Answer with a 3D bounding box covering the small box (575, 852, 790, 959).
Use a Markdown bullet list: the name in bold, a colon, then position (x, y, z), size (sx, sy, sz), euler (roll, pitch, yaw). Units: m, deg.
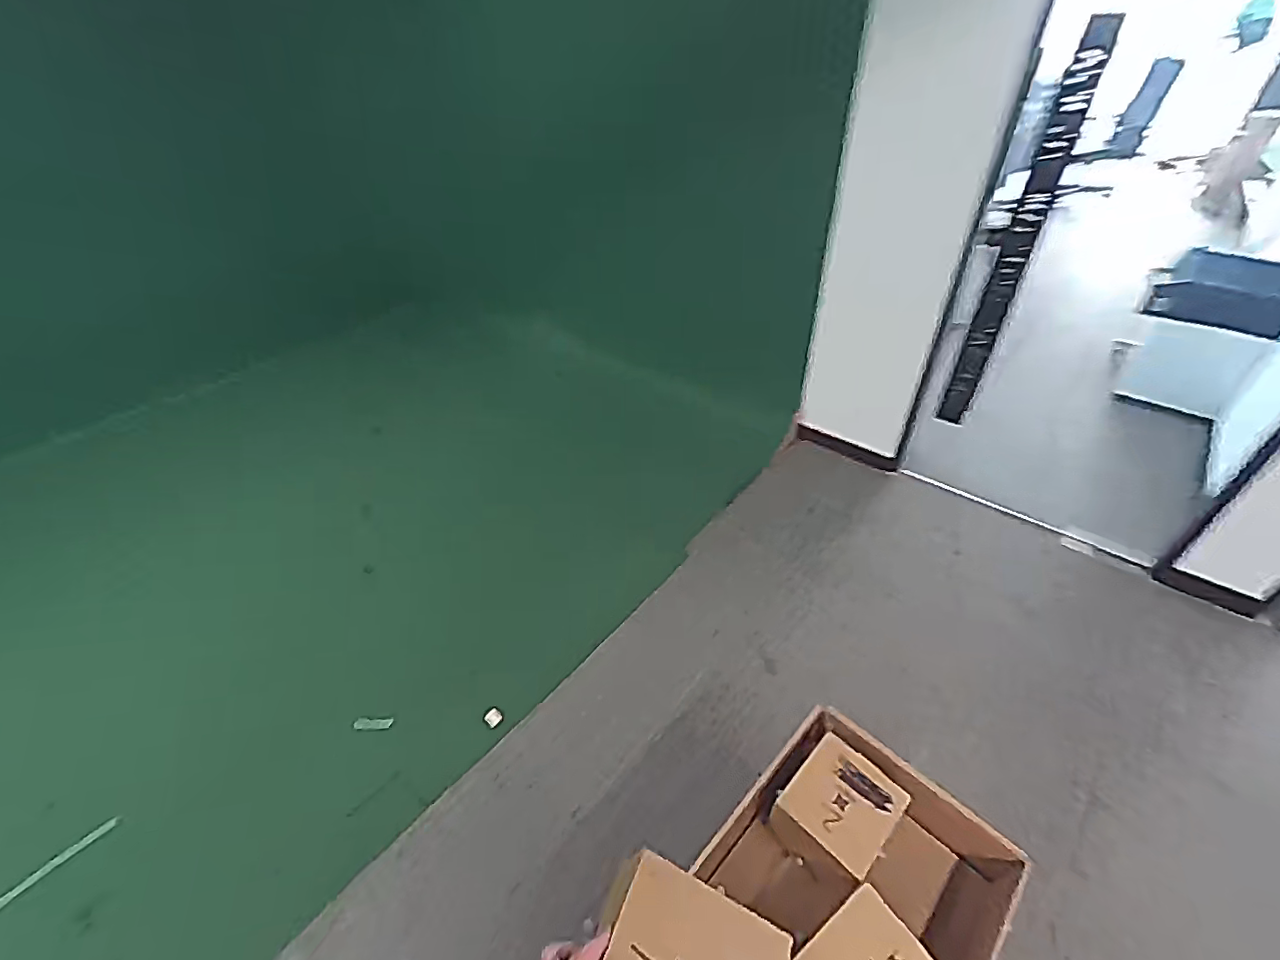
- **small box**: position (0.028, 0.533, 0.573), size (0.179, 0.176, 0.168), euler (27, 49, 8)
